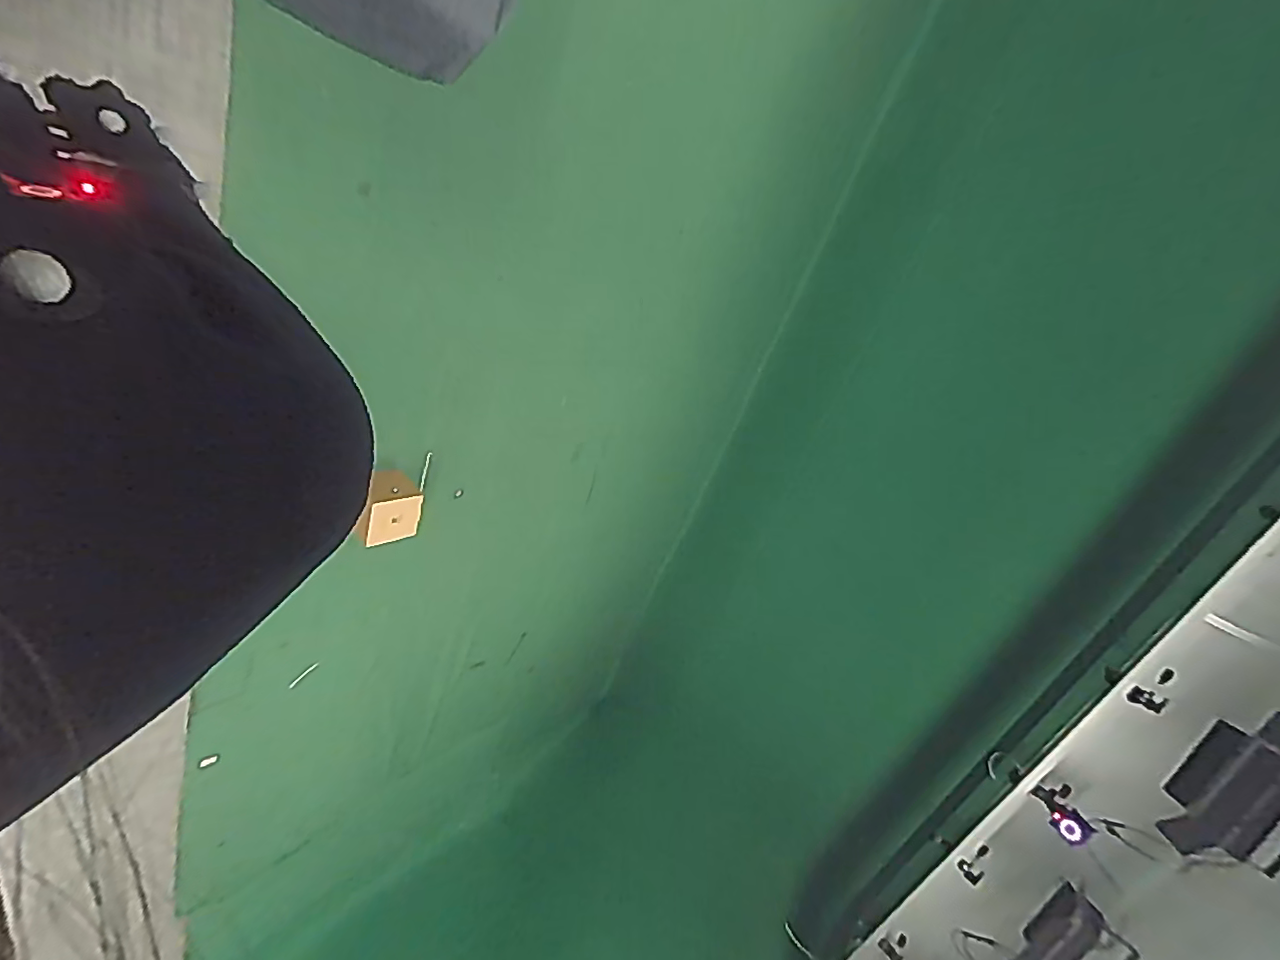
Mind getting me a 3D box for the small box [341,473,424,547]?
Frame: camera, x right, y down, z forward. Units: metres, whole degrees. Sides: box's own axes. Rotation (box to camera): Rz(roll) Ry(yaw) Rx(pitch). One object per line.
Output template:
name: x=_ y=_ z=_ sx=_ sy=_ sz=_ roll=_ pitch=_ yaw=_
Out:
small box: x=-0.842 y=0.089 z=1.767 sx=0.179 sy=0.176 sz=0.168 roll=-14 pitch=131 yaw=-52
